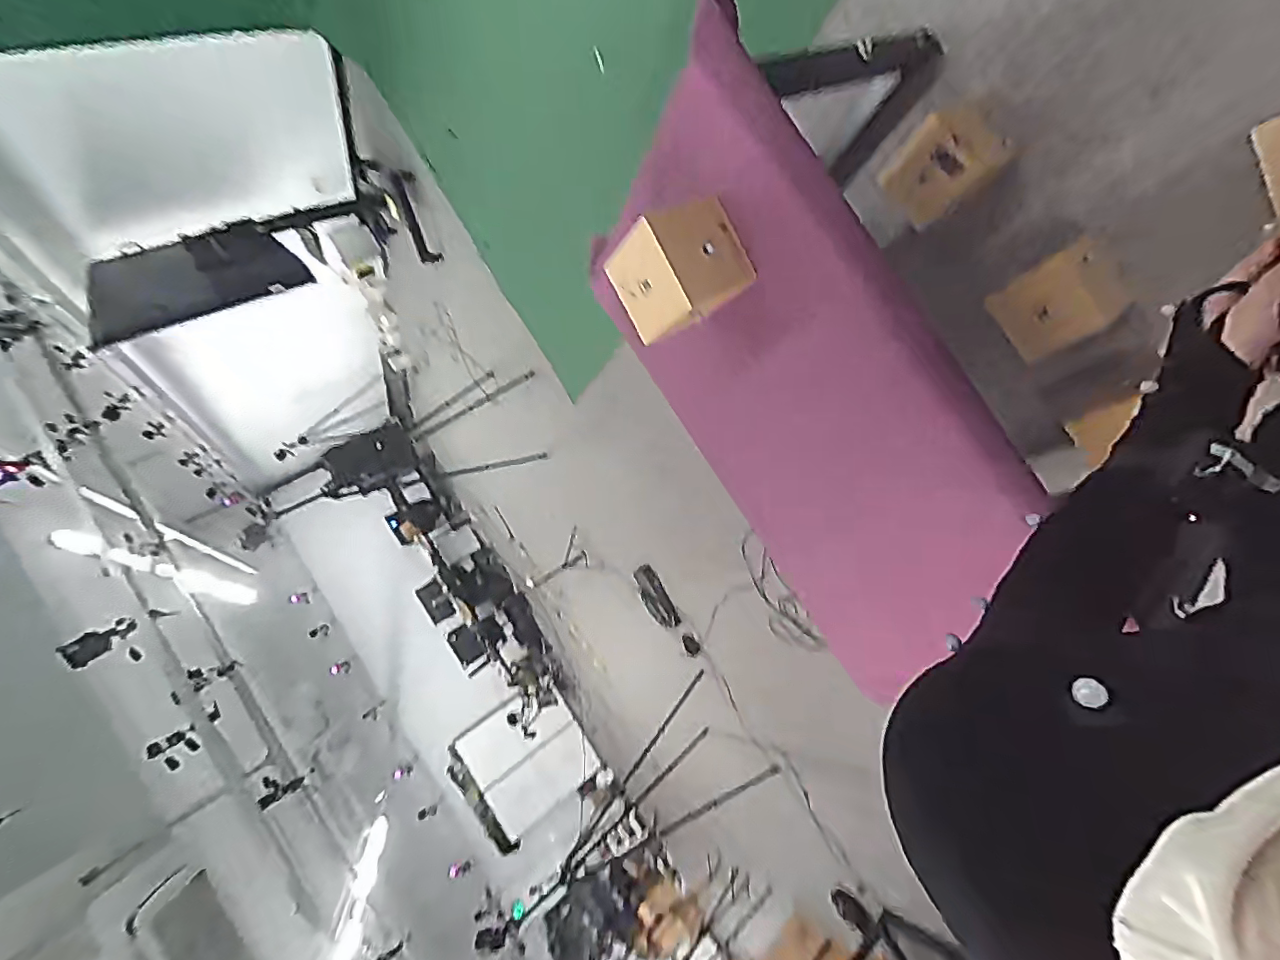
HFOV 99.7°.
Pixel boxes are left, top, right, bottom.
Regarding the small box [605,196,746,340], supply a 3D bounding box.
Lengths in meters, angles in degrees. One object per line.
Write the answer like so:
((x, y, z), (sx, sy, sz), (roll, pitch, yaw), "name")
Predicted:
((0.070, -0.388, 0.994), (0.168, 0.176, 0.179), (62, 153, -5), "small box")

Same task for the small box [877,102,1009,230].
((0.689, -0.712, 1.222), (0.168, 0.176, 0.179), (56, 155, 7), "small box")

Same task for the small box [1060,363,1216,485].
((1.076, -0.120, 1.168), (0.179, 0.176, 0.168), (57, 154, 4), "small box")

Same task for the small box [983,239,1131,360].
((0.905, -0.397, 1.176), (0.179, 0.176, 0.168), (57, 154, 3), "small box")
